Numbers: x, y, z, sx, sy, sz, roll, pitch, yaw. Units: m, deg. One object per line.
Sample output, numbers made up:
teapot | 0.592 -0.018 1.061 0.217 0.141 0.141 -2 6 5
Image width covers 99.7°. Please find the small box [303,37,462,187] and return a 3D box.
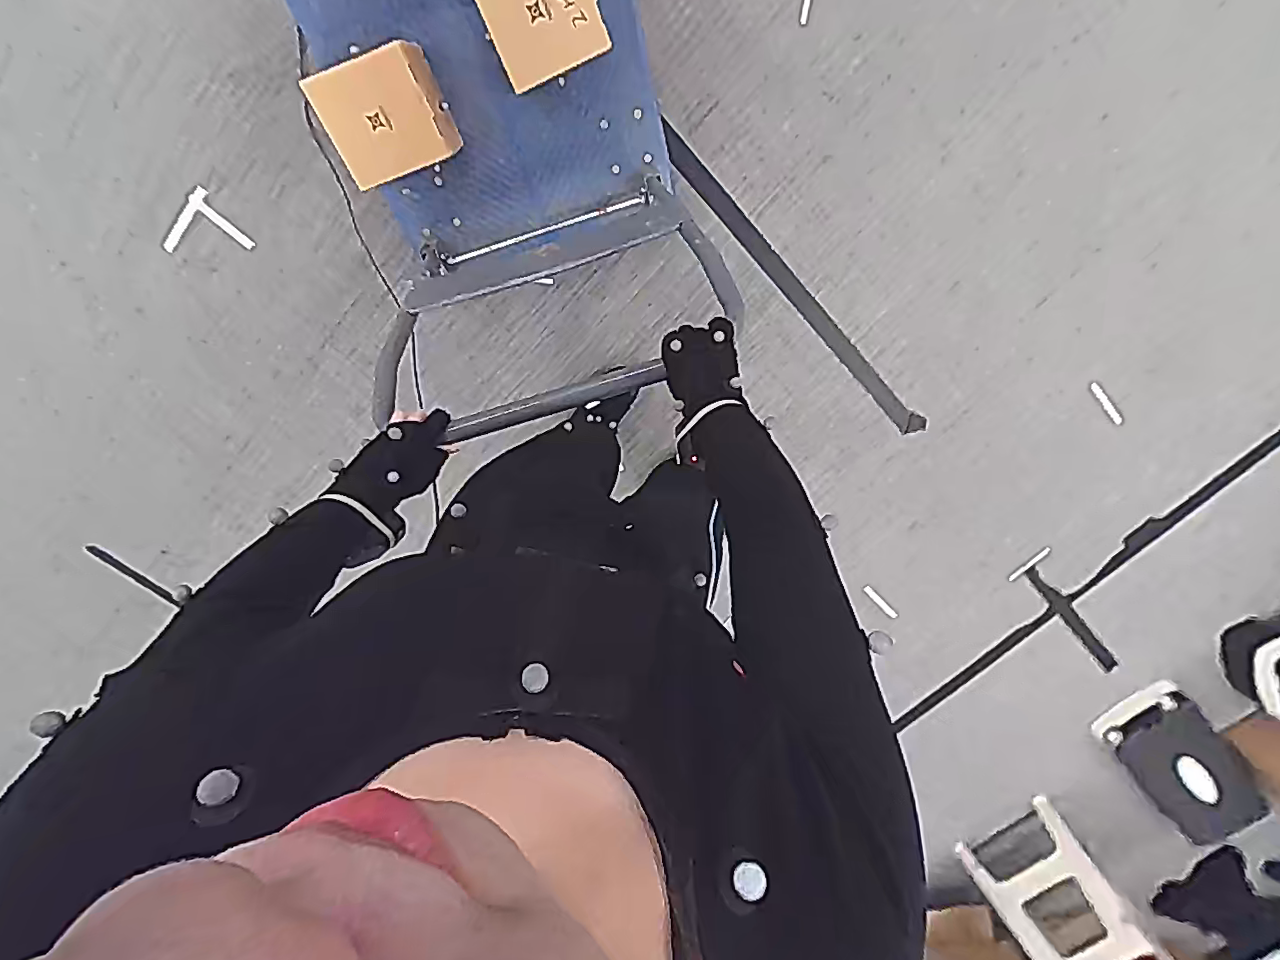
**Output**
small box | -0.436 -0.643 0.952 0.179 0.176 0.168 -20 127 5

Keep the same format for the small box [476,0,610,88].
small box | -0.161 -0.777 0.891 0.179 0.176 0.168 -21 127 8
